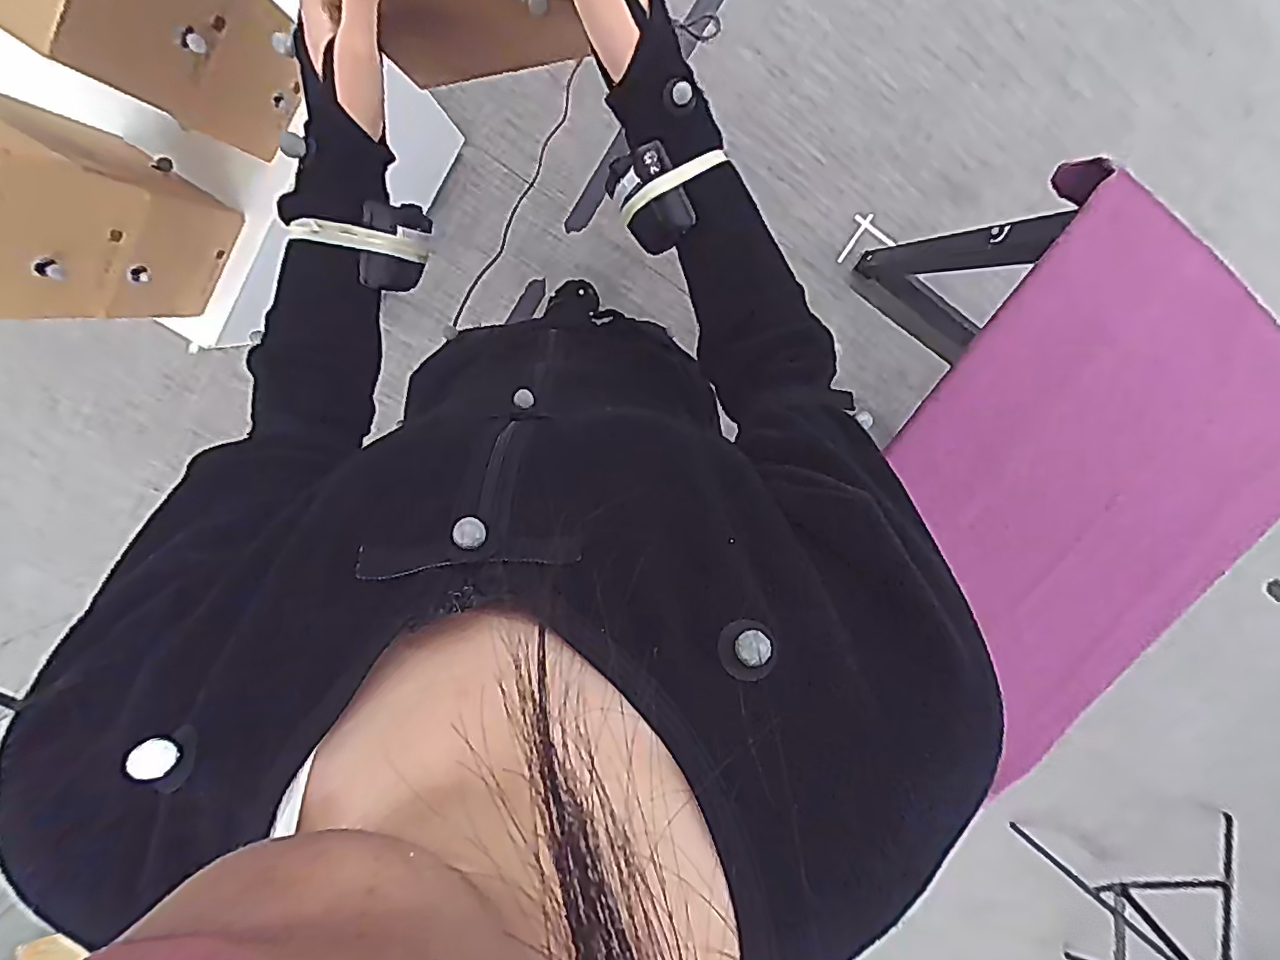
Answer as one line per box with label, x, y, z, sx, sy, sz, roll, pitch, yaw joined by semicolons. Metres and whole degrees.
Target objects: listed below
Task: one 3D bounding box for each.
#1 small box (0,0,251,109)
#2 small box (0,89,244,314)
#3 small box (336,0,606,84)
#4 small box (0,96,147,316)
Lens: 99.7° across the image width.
small box;-0.494;-0.468;0.464;0.179;0.176;0.168;34;103;-15
small box;-0.654;-0.322;0.670;0.179;0.176;0.168;33;103;-12
small box;-0.120;-0.410;0.373;0.179;0.176;0.168;-9;108;3
small box;-0.641;-0.274;0.516;0.179;0.176;0.168;31;103;-12
